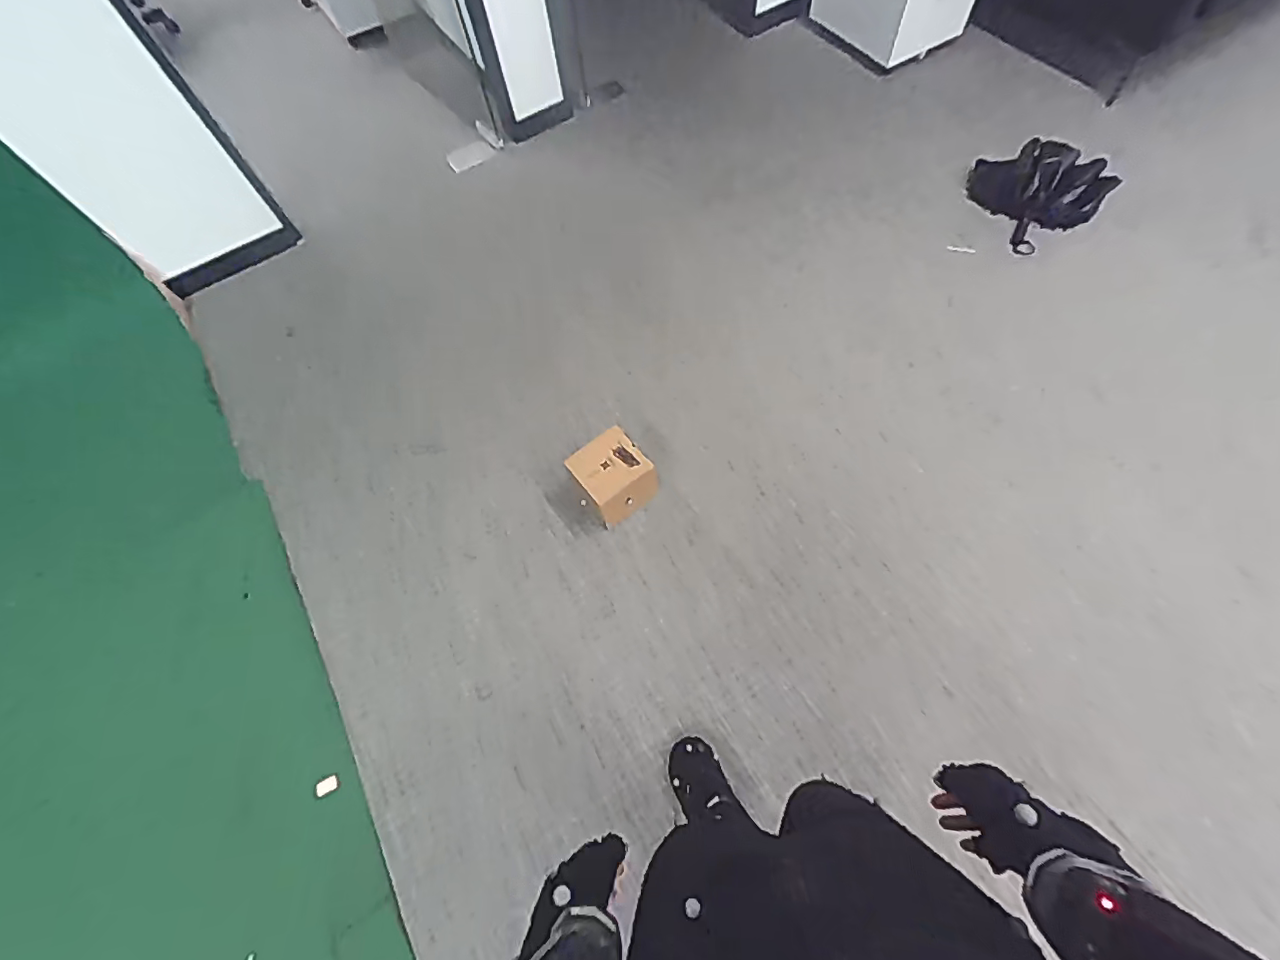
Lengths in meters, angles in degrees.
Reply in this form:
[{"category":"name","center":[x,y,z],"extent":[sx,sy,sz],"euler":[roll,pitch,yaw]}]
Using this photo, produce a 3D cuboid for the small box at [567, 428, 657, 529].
[{"category":"small box","center":[-0.072,-0.001,1.455],"extent":[0.179,0.176,0.168],"euler":[-39,68,-14]}]
